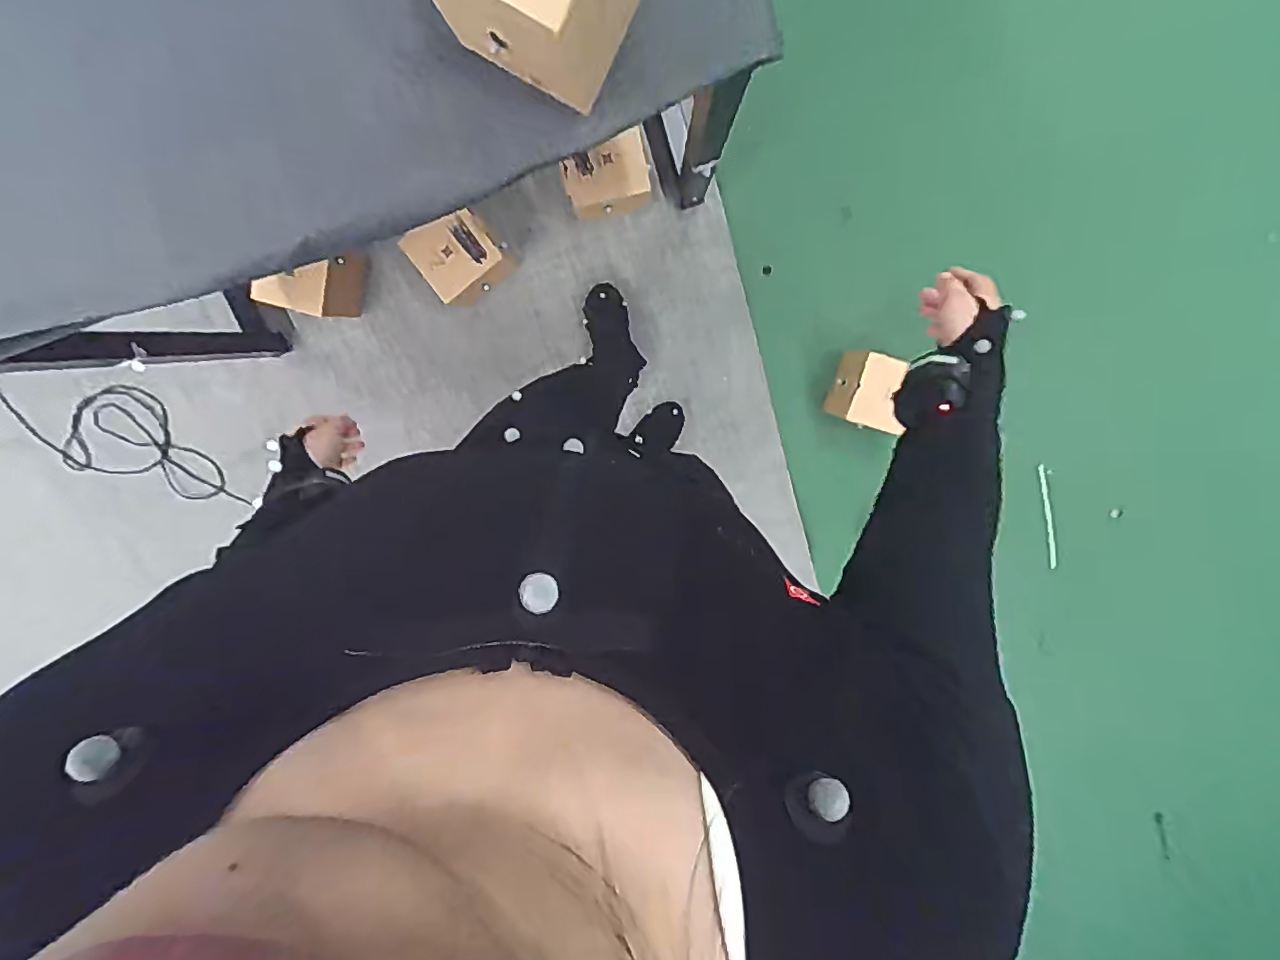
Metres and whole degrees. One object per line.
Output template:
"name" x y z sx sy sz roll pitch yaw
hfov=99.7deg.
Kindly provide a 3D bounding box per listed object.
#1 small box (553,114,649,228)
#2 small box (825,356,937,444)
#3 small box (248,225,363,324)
"small box" -0.080 -0.684 1.219 0.179 0.176 0.168 -12 104 3
"small box" 0.583 -0.202 1.338 0.179 0.176 0.168 16 103 -3
"small box" -0.784 -0.476 1.281 0.168 0.176 0.179 15 103 -3
